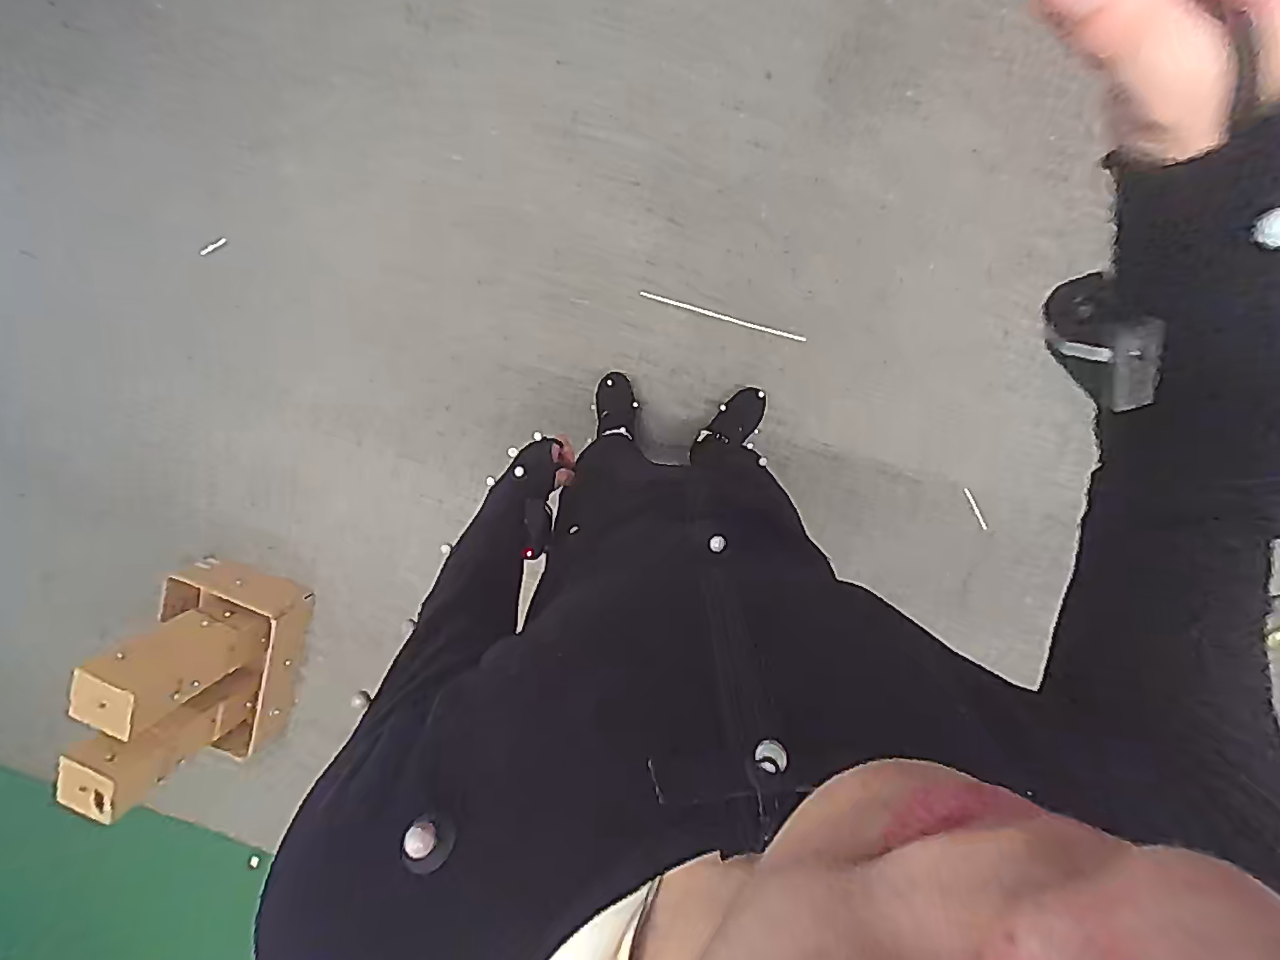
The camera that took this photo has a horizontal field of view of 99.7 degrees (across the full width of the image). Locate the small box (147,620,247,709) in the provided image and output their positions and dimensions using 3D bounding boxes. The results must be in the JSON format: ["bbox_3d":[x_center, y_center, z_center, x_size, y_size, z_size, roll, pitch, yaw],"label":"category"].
[{"bbox_3d":[-1.364,0.555,1.657,0.179,0.176,0.168,24,105,3],"label":"small box"}]

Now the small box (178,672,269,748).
[{"bbox_3d":[-1.452,0.786,1.890,0.179,0.176,0.168,22,105,3],"label":"small box"}]

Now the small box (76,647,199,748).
[{"bbox_3d":[-1.387,0.591,1.499,0.179,0.176,0.168,24,105,2],"label":"small box"}]

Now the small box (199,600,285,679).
[{"bbox_3d":[-1.346,0.526,1.817,0.179,0.176,0.168,22,105,3],"label":"small box"}]

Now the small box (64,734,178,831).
[{"bbox_3d":[-1.503,0.863,1.575,0.179,0.176,0.168,22,104,5],"label":"small box"}]
